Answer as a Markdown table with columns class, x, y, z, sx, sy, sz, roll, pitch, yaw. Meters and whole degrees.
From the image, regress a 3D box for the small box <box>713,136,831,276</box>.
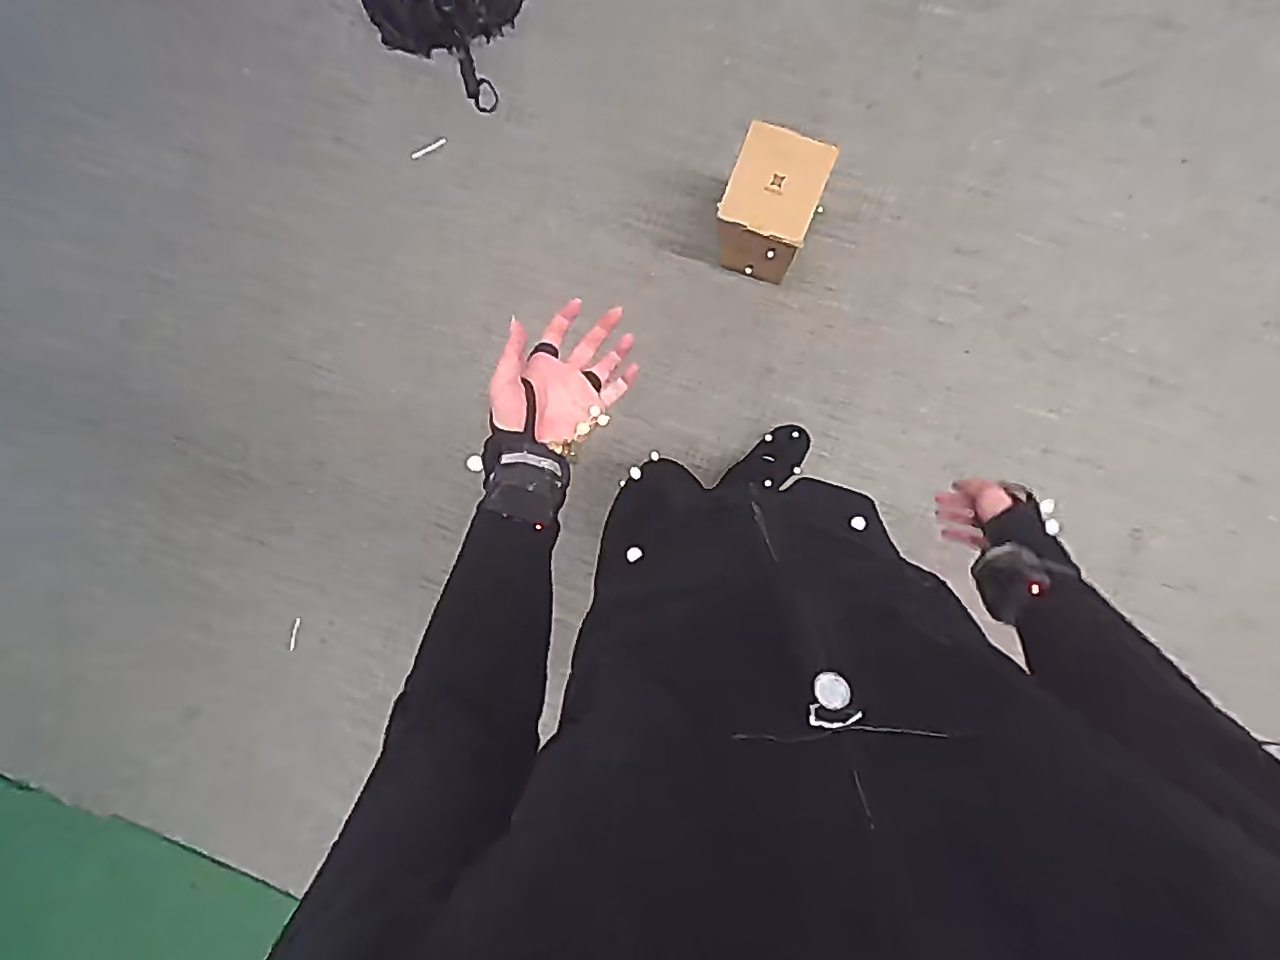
| class | x | y | z | sx | sy | sz | roll | pitch | yaw |
| --- | --- | --- | --- | --- | --- | --- | --- | --- | --- |
| small box | 0.251 | -0.525 | 1.064 | 0.168 | 0.176 | 0.179 | 21 | 98 | 4 |

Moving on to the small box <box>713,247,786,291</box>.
| class | x | y | z | sx | sy | sz | roll | pitch | yaw |
| --- | --- | --- | --- | --- | --- | --- | --- | --- | --- |
| small box | 0.273 | -0.547 | 1.224 | 0.168 | 0.176 | 0.179 | 21 | 100 | 5 |
